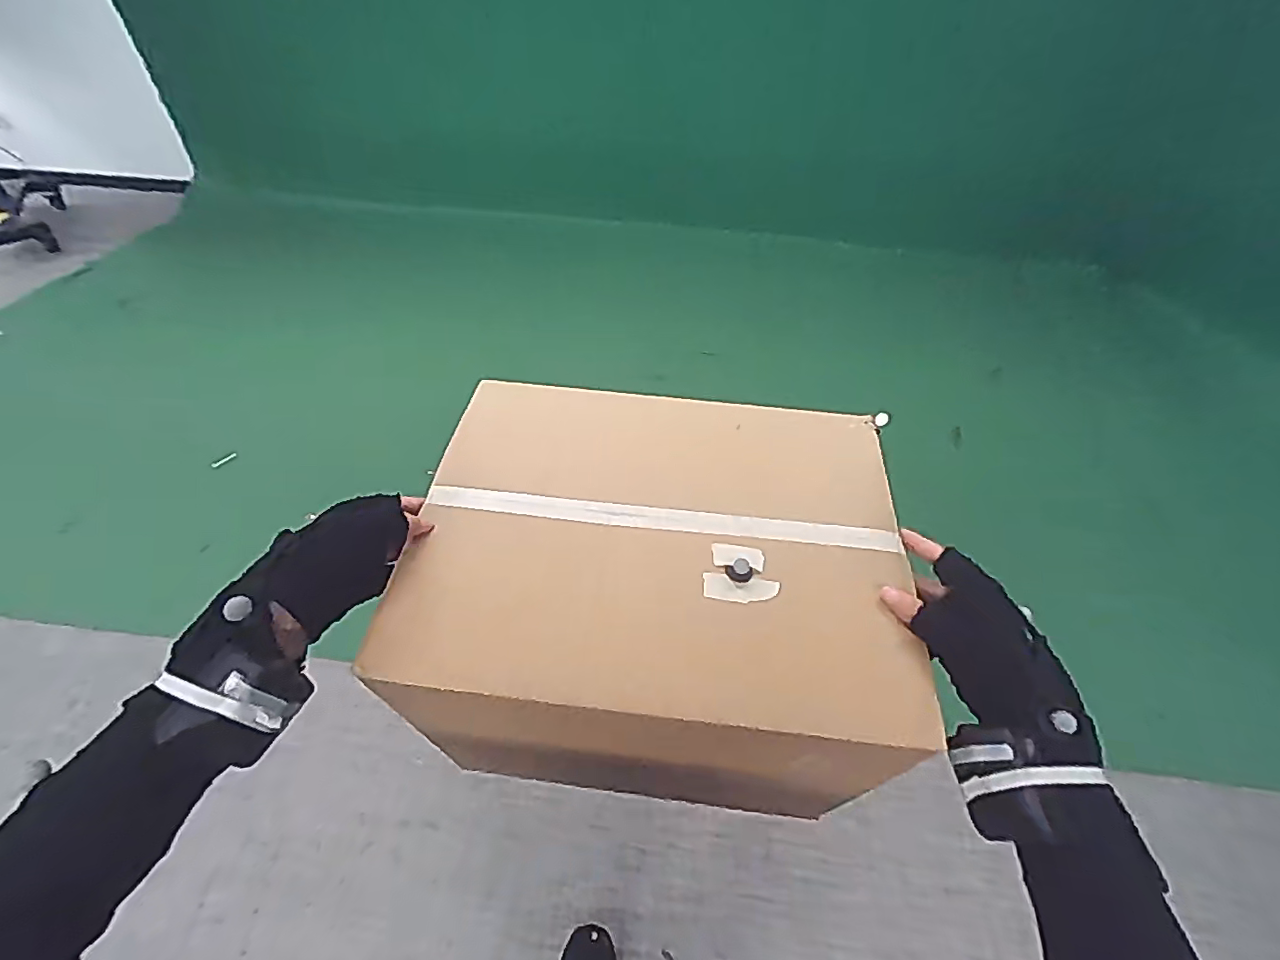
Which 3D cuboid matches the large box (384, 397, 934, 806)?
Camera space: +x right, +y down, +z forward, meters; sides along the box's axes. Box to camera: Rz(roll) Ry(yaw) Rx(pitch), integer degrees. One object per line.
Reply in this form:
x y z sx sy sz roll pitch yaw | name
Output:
0.019 0.136 0.590 0.408 0.320 0.320 5 52 4 | large box
